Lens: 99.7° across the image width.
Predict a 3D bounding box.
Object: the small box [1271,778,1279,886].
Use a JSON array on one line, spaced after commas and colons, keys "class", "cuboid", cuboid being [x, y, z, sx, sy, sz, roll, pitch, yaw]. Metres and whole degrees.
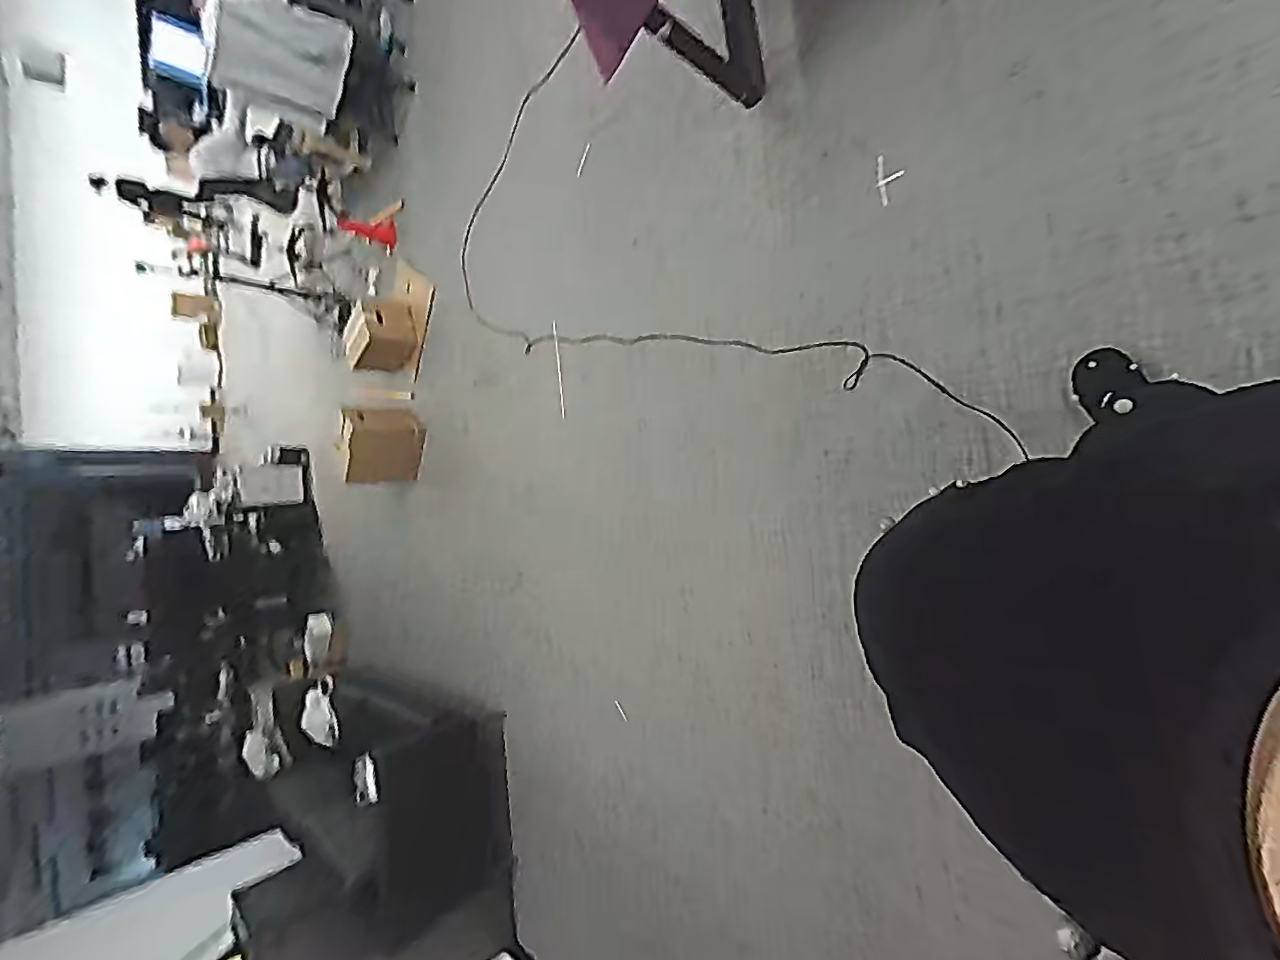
[{"class": "small box", "cuboid": [1.150, 0.617, 0.869, 0.168, 0.176, 0.179, -2, 89, 46]}]
